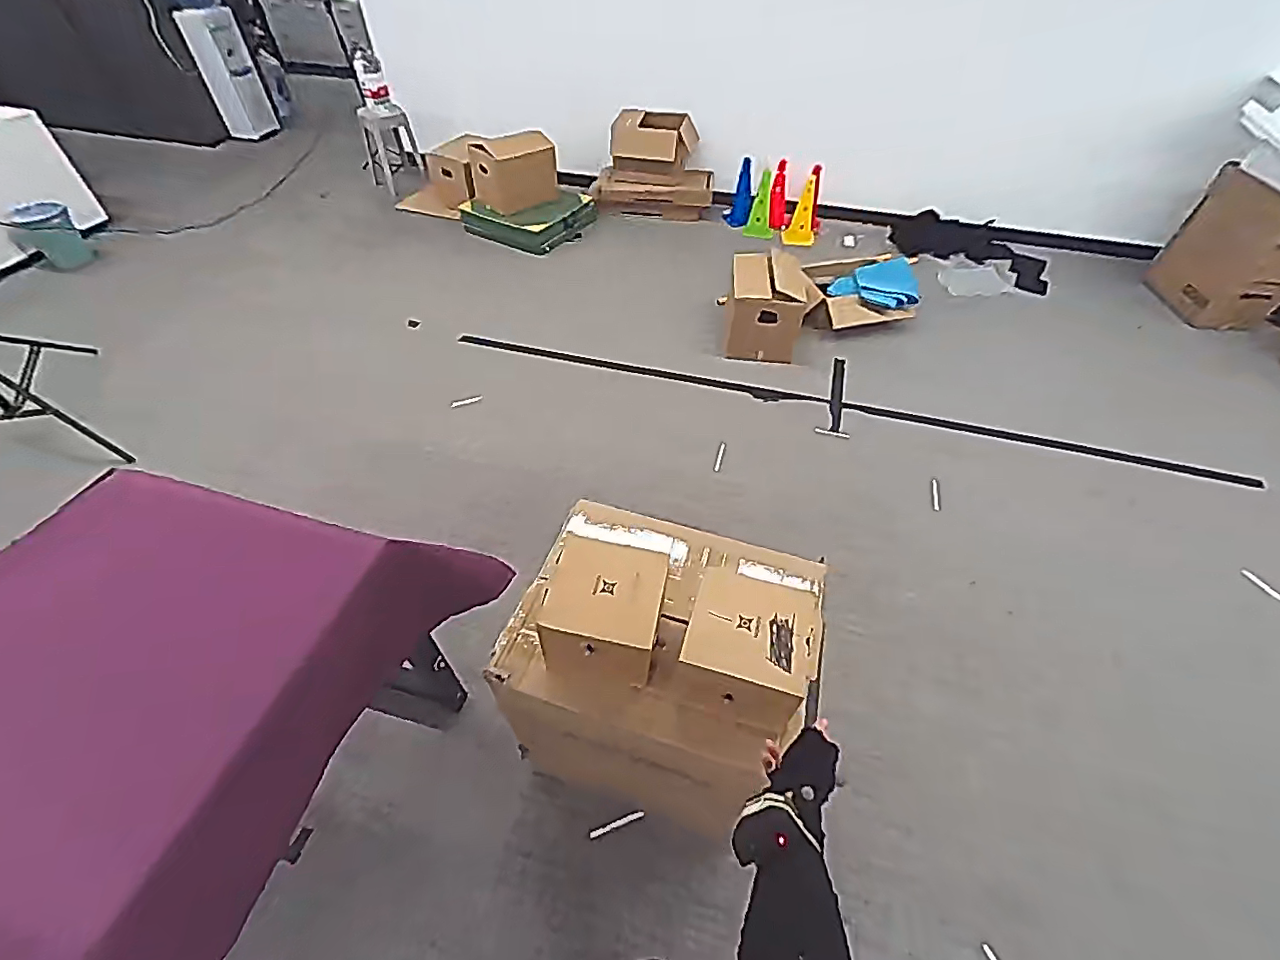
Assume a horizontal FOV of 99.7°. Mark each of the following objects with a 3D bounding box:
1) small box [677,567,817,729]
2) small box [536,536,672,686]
[{"bbox_3d":[0.162,0.266,0.845,0.179,0.176,0.168,12,49,12],"label":"small box"},{"bbox_3d":[-0.053,0.218,0.886,0.179,0.176,0.168,11,50,7],"label":"small box"}]
